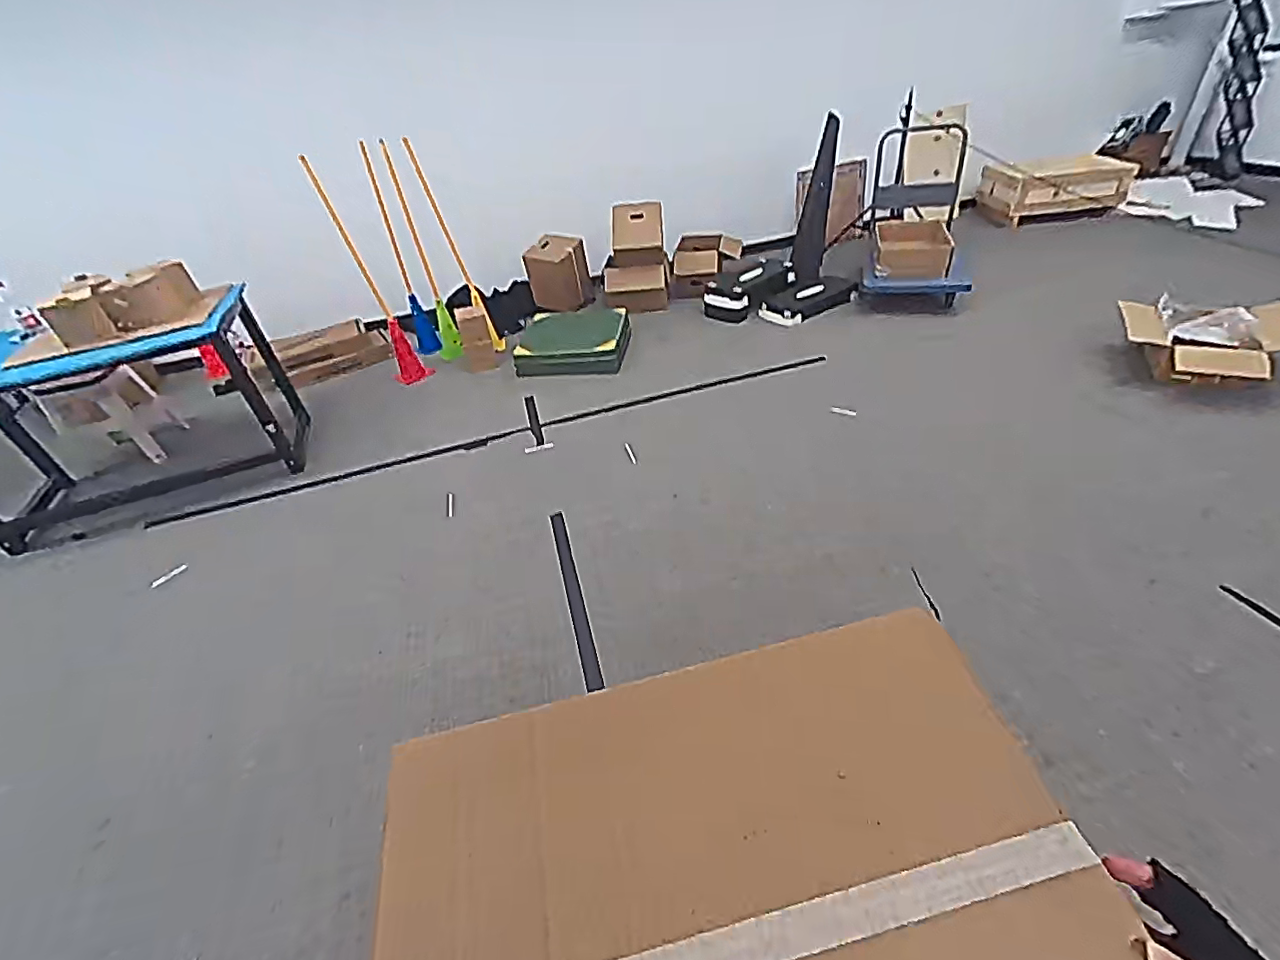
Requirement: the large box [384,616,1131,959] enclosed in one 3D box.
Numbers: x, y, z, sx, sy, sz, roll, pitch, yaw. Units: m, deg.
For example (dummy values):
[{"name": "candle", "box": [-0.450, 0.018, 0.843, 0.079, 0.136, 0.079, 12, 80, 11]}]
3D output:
[{"name": "large box", "box": [0.070, 0.357, 0.411, 0.408, 0.320, 0.320, -14, 46, -4]}]
